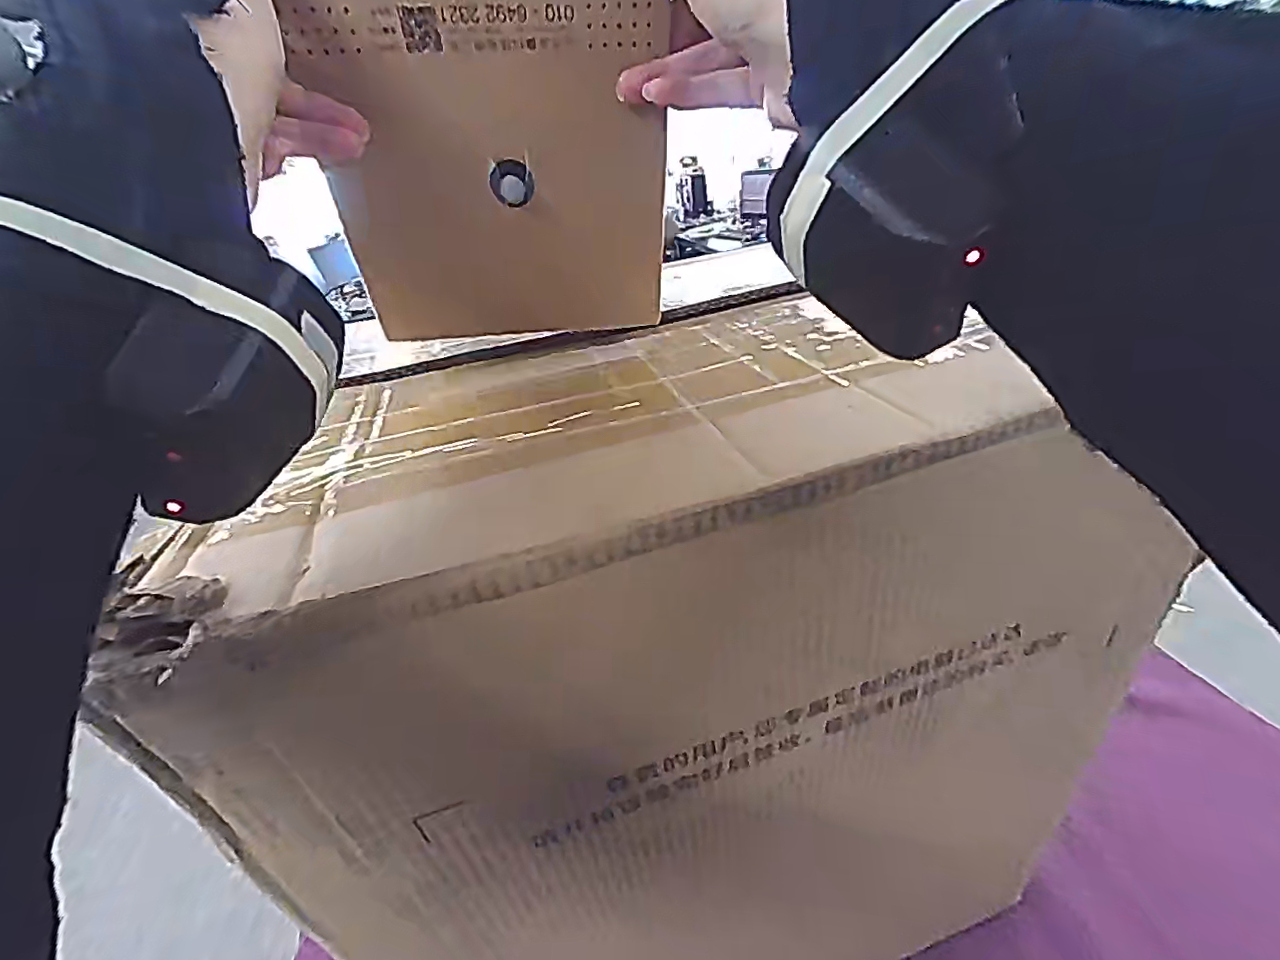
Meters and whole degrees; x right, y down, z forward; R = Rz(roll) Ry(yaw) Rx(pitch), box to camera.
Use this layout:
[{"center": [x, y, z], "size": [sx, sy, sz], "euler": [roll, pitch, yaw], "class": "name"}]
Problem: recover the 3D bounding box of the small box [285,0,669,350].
[{"center": [-0.077, -0.204, 0.329], "size": [0.168, 0.176, 0.179], "euler": [-6, 49, -6], "class": "small box"}]
